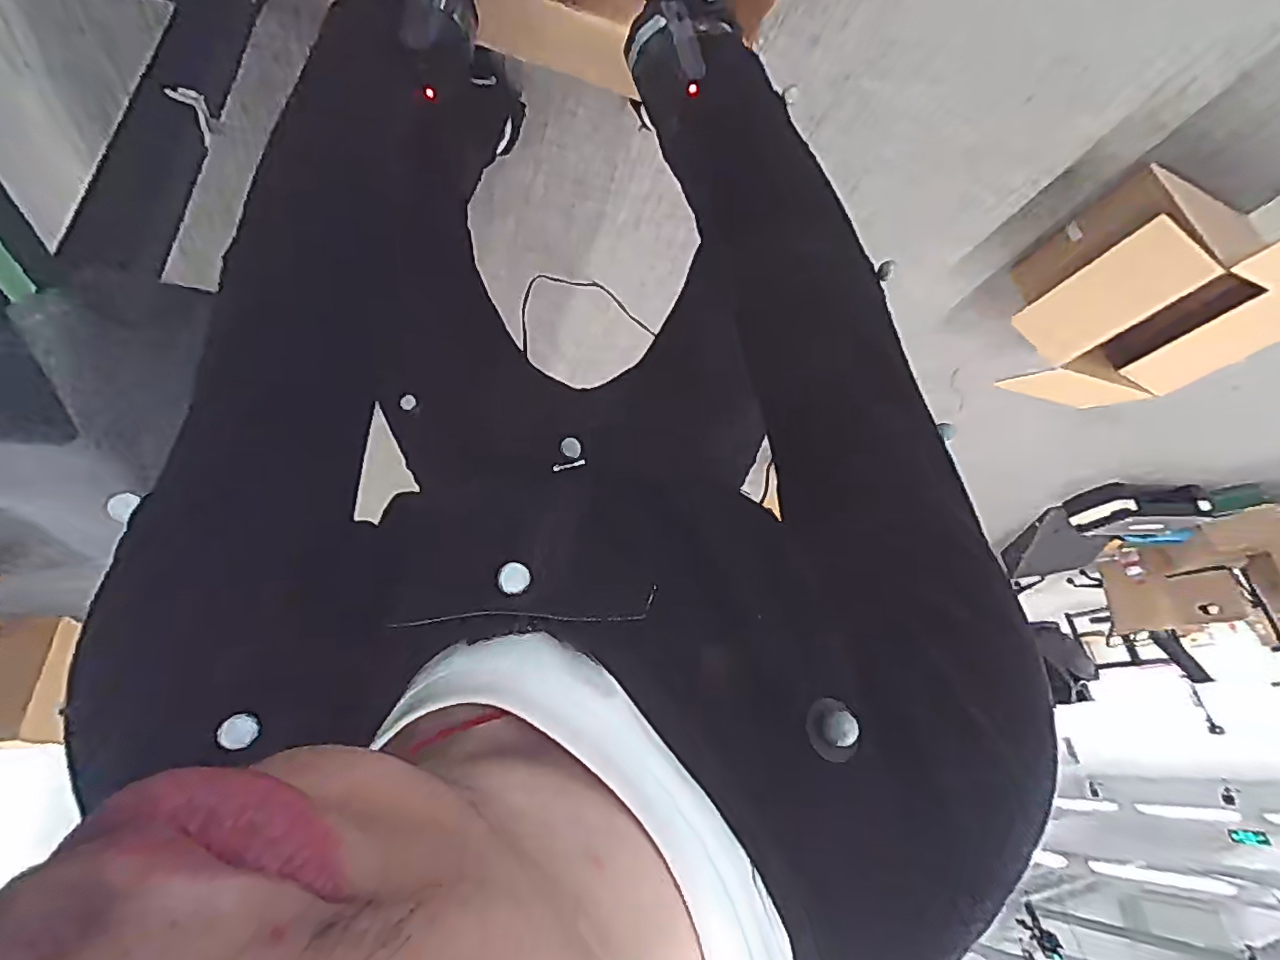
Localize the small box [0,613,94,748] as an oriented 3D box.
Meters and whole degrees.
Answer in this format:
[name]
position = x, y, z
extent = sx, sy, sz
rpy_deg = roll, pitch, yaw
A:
[small box]
position = -0.925, 0.286, 0.764
extent = 0.168, 0.176, 0.179
rpy_deg = 7, 153, -29
